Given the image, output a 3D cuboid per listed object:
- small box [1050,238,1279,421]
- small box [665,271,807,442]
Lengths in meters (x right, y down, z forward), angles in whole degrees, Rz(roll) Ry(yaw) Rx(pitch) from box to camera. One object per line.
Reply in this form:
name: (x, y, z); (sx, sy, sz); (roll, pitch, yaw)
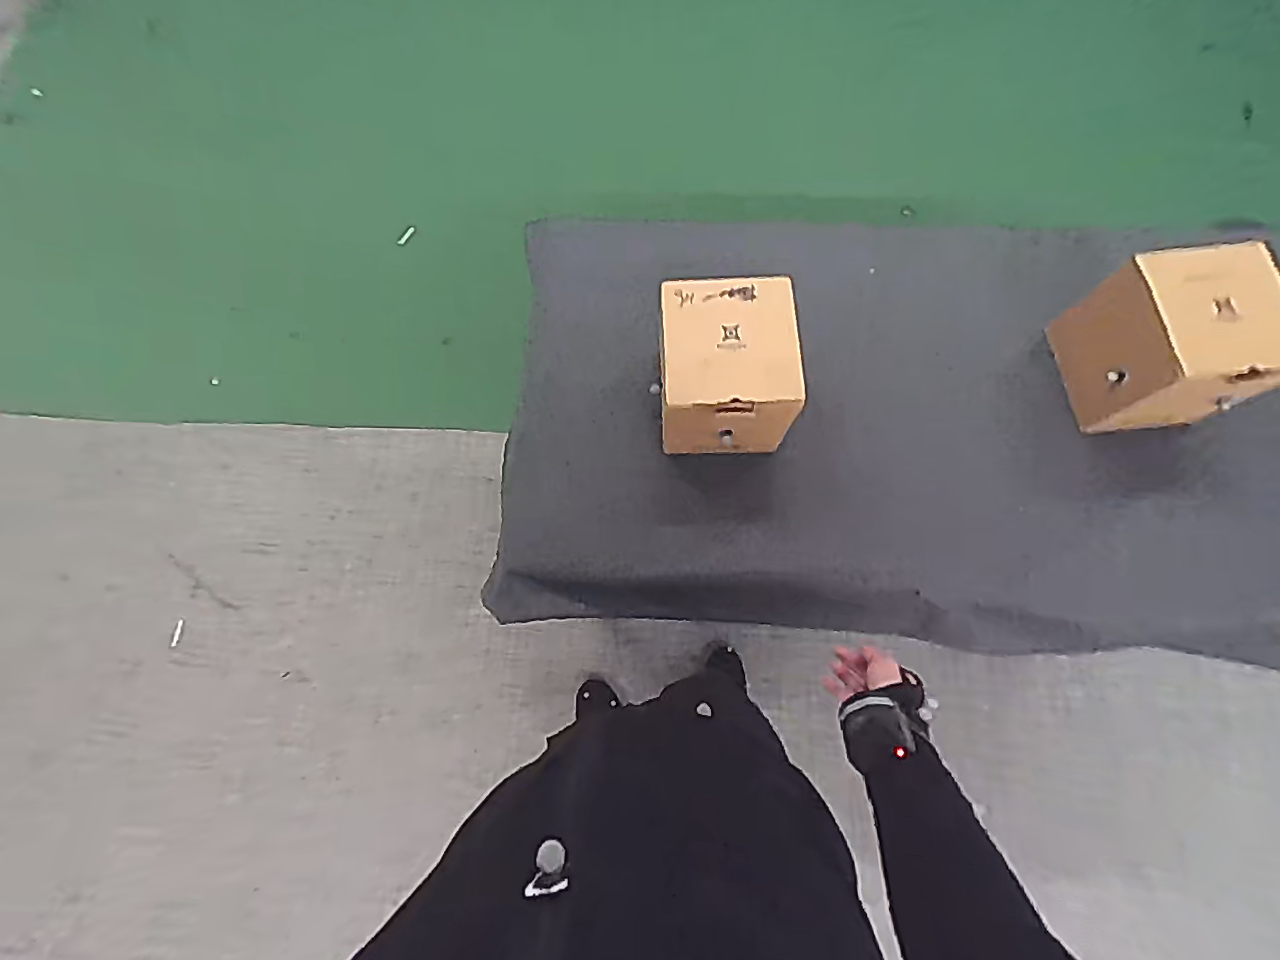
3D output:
small box: (0.708, -0.189, 0.726); (0.168, 0.176, 0.179); (-6, 72, -1)
small box: (0.119, -0.156, 0.737); (0.168, 0.176, 0.179); (-1, 73, 1)
